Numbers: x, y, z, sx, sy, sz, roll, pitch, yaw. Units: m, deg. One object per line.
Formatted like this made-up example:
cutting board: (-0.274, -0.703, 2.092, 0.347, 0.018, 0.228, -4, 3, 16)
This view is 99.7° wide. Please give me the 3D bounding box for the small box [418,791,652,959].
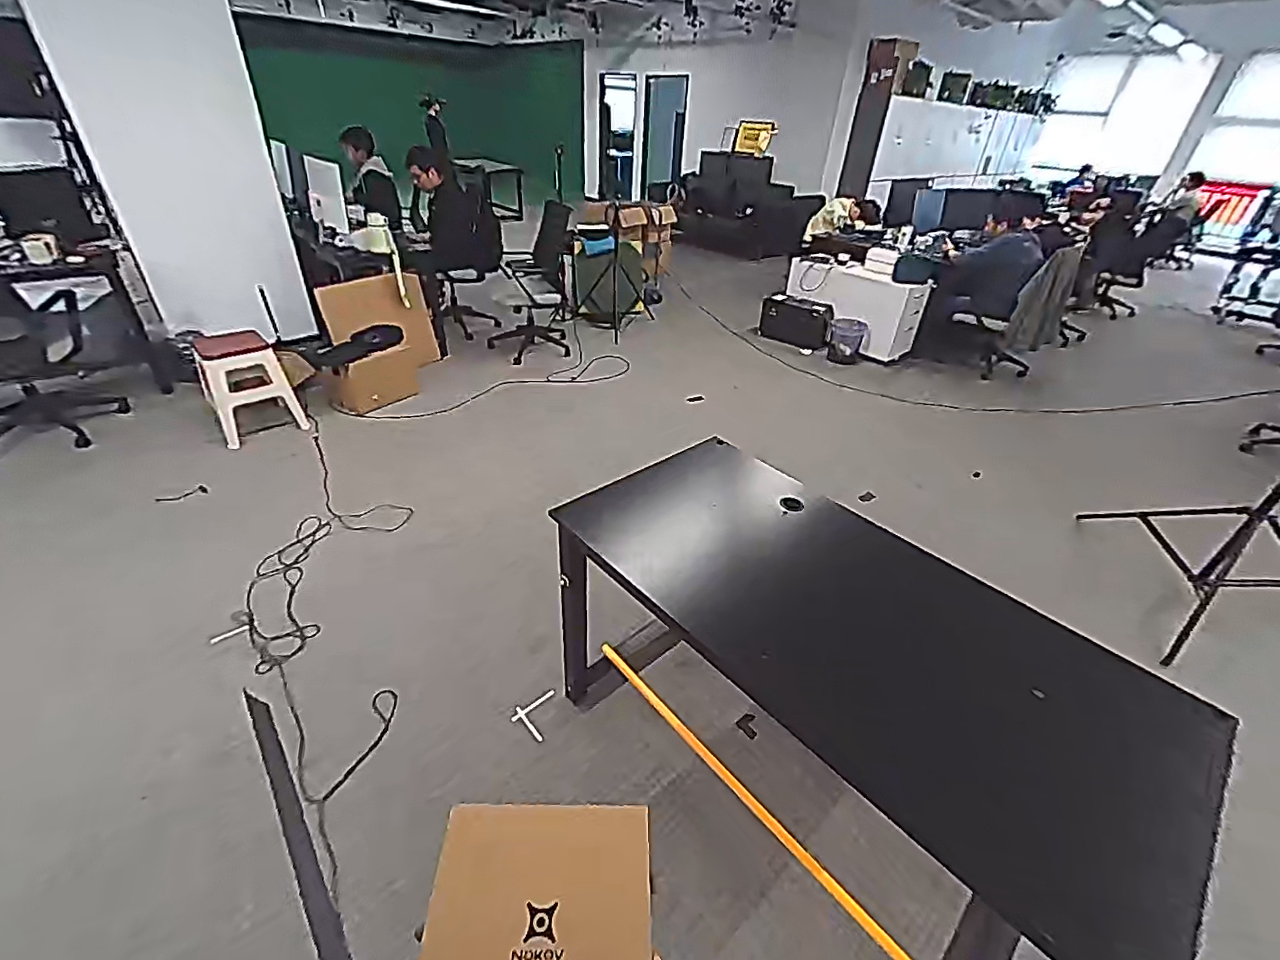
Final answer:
small box: (-0.080, 0.385, 0.445, 0.168, 0.176, 0.179, 3, 40, -3)
